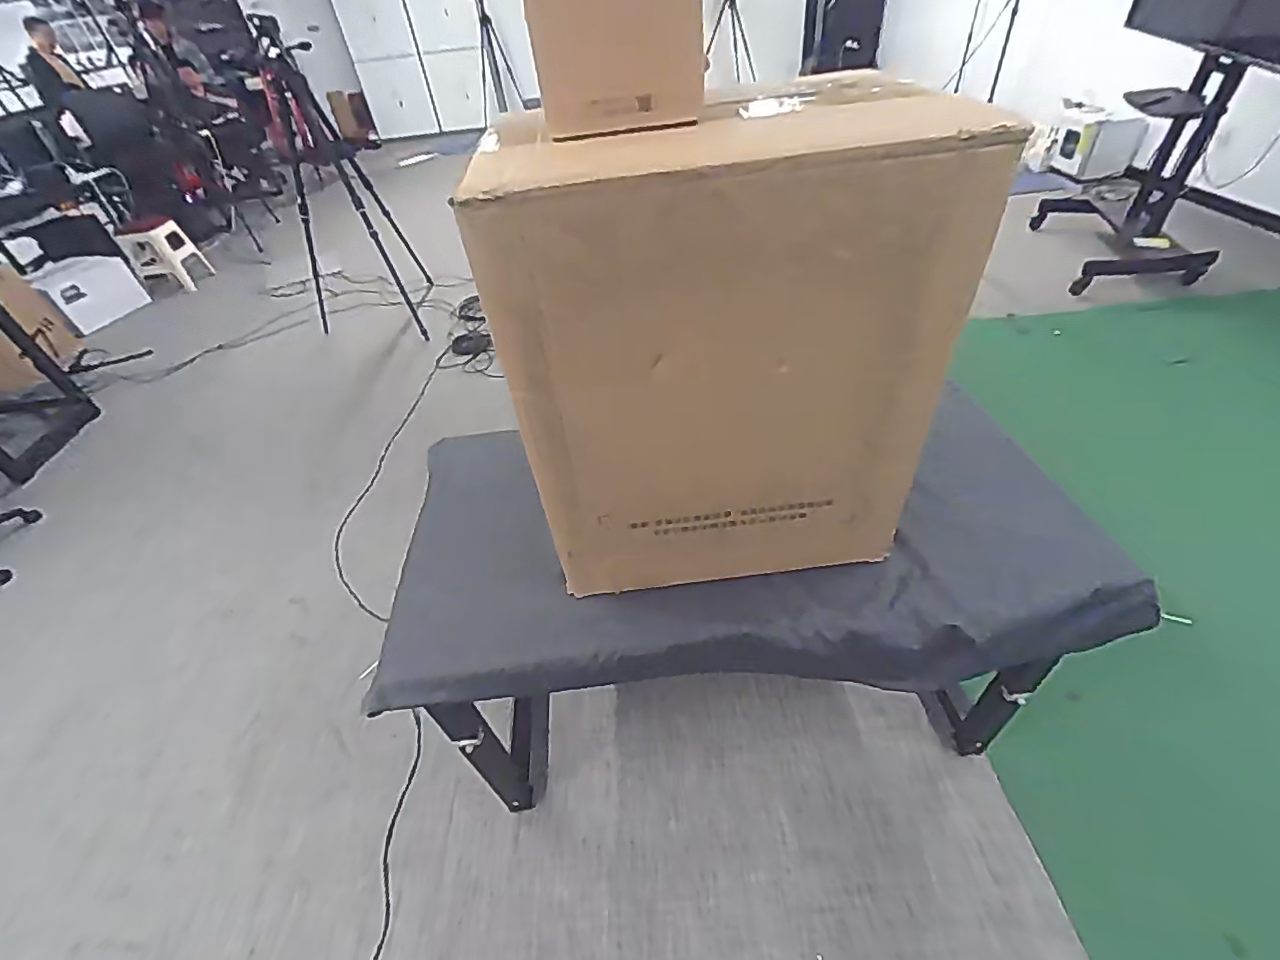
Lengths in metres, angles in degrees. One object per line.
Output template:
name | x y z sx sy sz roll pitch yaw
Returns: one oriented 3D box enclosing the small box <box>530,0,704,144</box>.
small box | -0.022 -0.477 0.584 0.168 0.176 0.179 -6 41 2
